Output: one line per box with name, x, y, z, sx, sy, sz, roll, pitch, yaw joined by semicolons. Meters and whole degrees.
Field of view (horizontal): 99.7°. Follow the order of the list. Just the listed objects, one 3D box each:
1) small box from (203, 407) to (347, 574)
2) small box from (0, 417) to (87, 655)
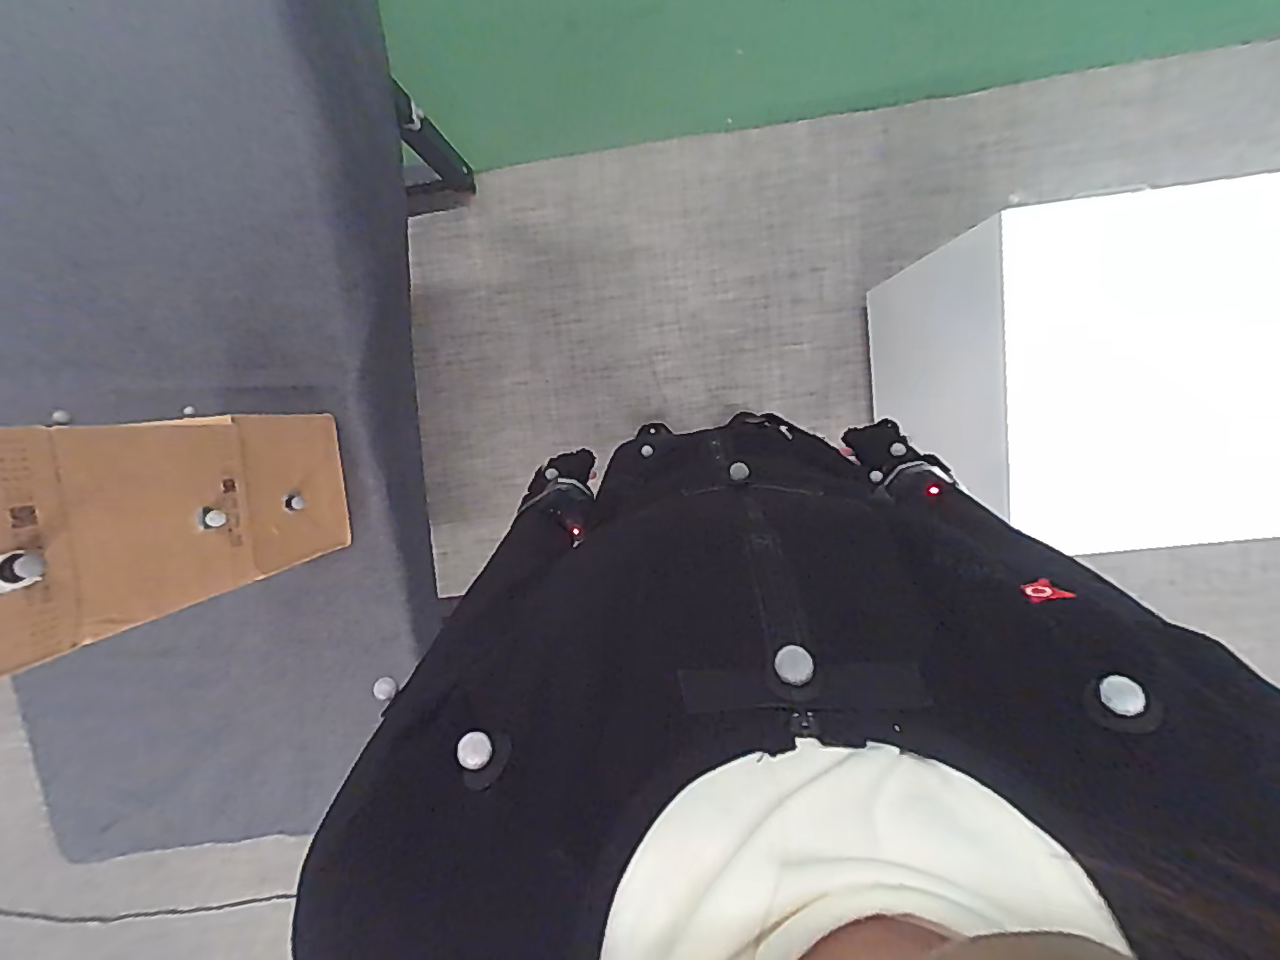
small box;-0.485;0.006;0.654;0.168;0.176;0.179;-3;98;6
small box;-0.516;0.049;0.332;0.179;0.176;0.168;-2;99;5
